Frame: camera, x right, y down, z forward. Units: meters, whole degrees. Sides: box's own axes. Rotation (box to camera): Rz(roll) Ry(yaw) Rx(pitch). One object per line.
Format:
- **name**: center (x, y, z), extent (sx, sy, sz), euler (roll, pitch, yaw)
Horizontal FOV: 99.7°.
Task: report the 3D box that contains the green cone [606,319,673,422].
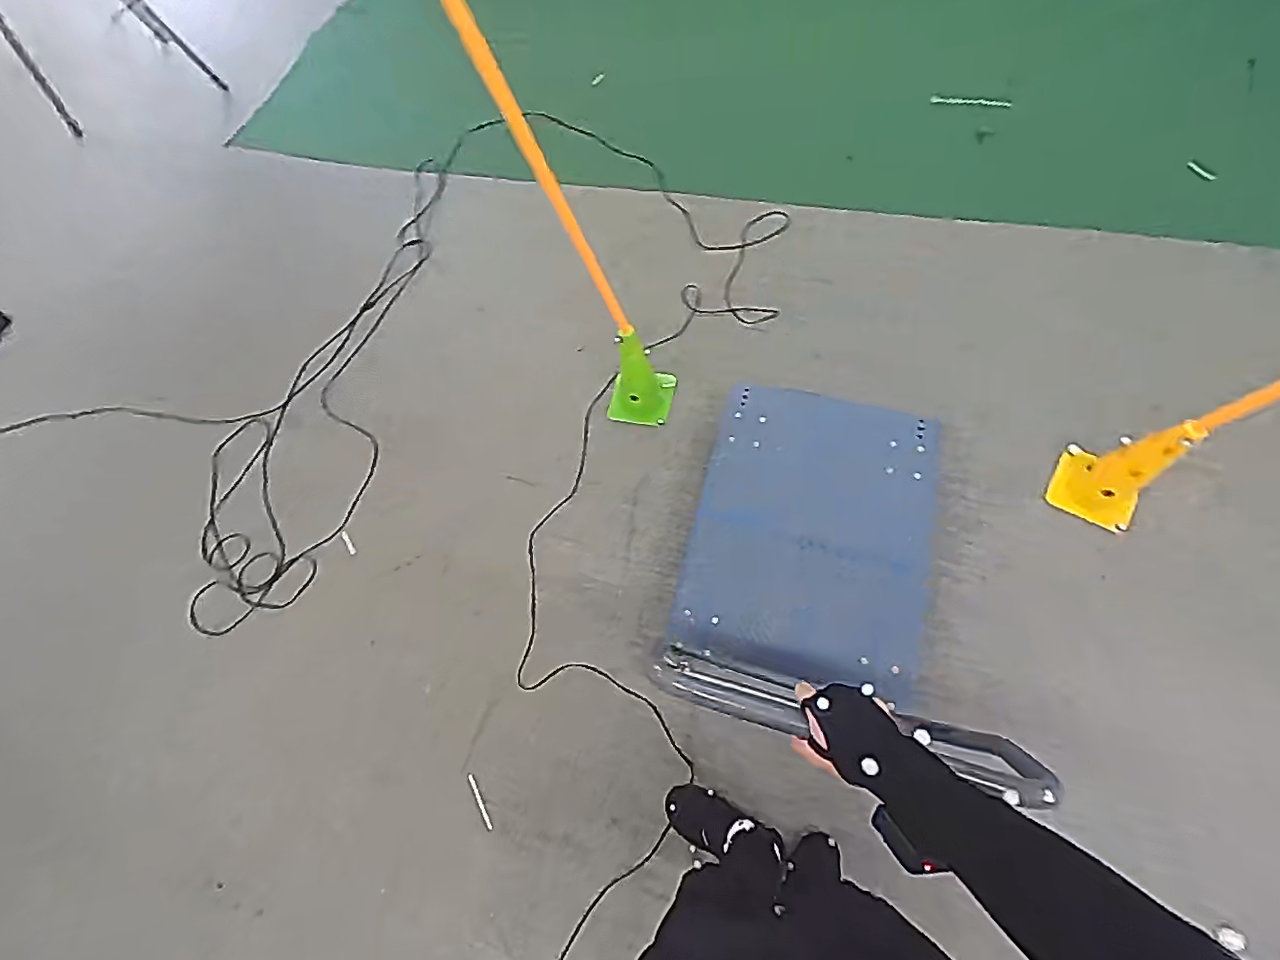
- **green cone**: center (-0.026, -0.357, 1.639), extent (0.202, 0.368, 0.200), euler (8, 68, 13)
